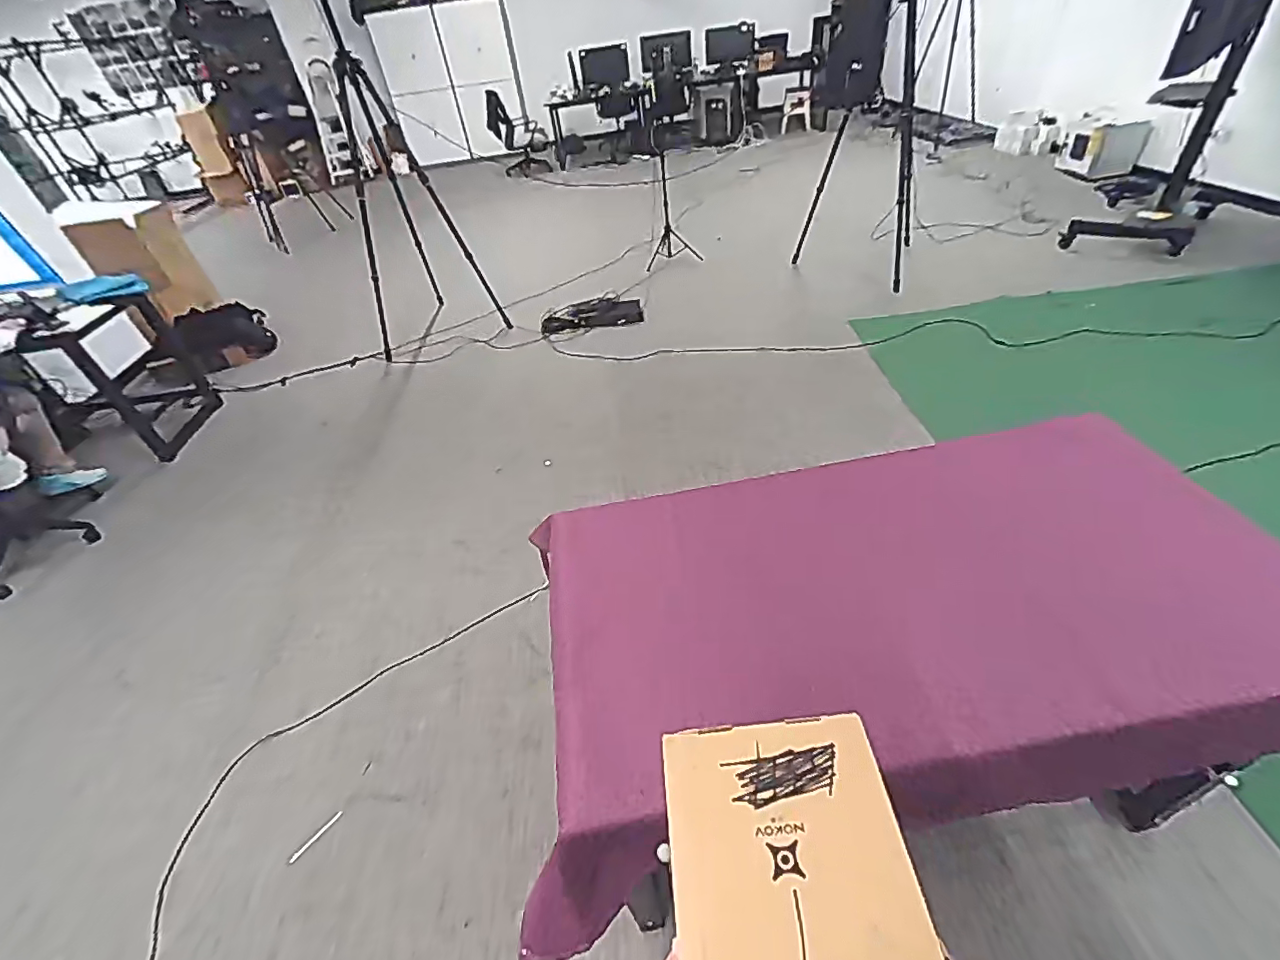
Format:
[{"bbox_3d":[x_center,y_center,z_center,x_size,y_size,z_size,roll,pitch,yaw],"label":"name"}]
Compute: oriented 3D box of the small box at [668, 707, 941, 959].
[{"bbox_3d":[0.117,0.316,0.449,0.168,0.176,0.179,-8,43,5],"label":"small box"}]
